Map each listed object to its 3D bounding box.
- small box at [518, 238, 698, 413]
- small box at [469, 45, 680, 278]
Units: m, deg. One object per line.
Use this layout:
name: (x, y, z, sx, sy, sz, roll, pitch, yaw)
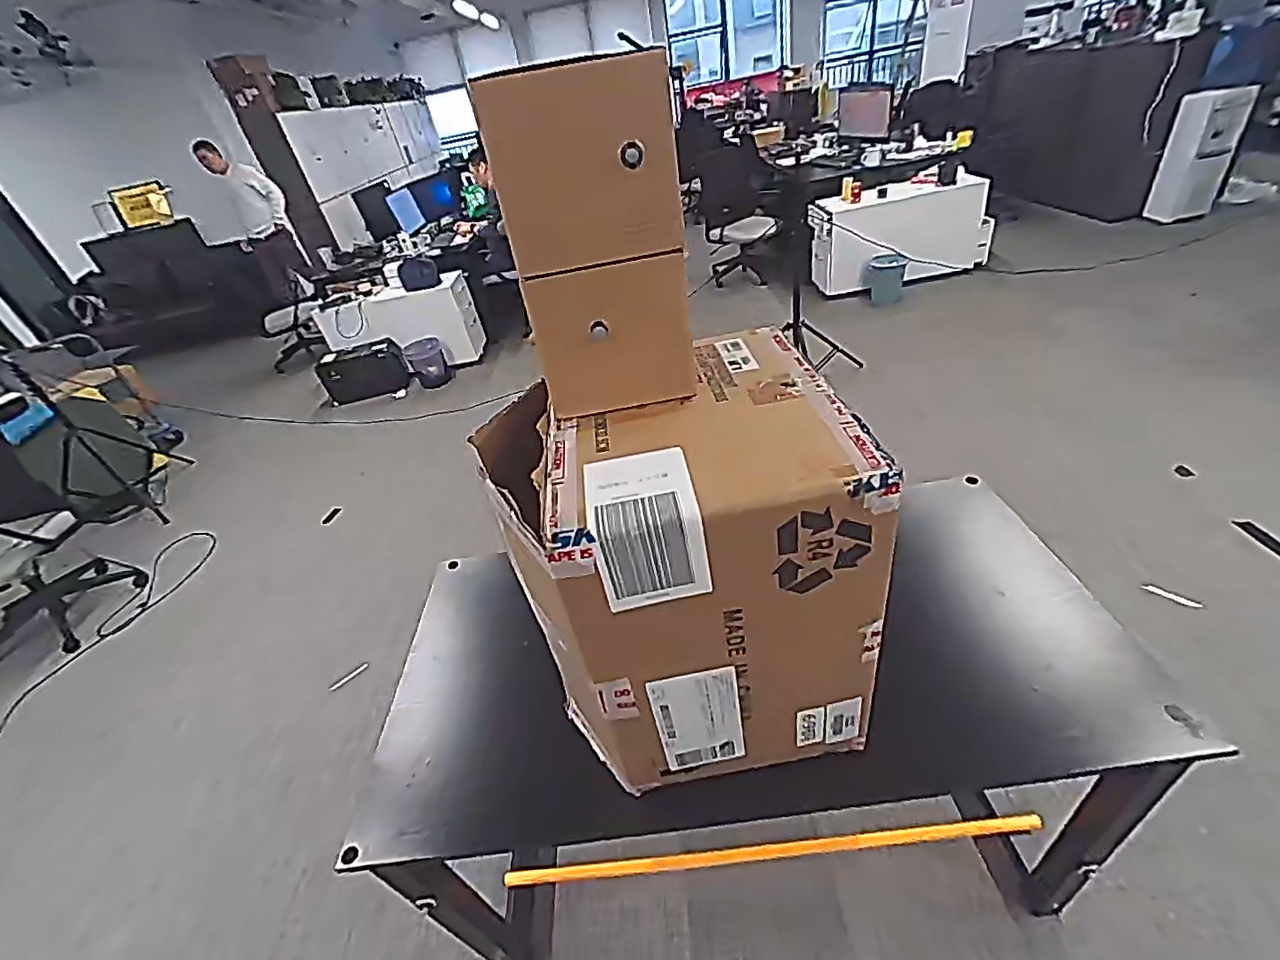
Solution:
small box: (-0.035, -0.198, 0.664, 0.179, 0.176, 0.168, -11, 34, 0)
small box: (-0.059, -0.329, 0.568, 0.179, 0.176, 0.168, -12, 33, -2)
